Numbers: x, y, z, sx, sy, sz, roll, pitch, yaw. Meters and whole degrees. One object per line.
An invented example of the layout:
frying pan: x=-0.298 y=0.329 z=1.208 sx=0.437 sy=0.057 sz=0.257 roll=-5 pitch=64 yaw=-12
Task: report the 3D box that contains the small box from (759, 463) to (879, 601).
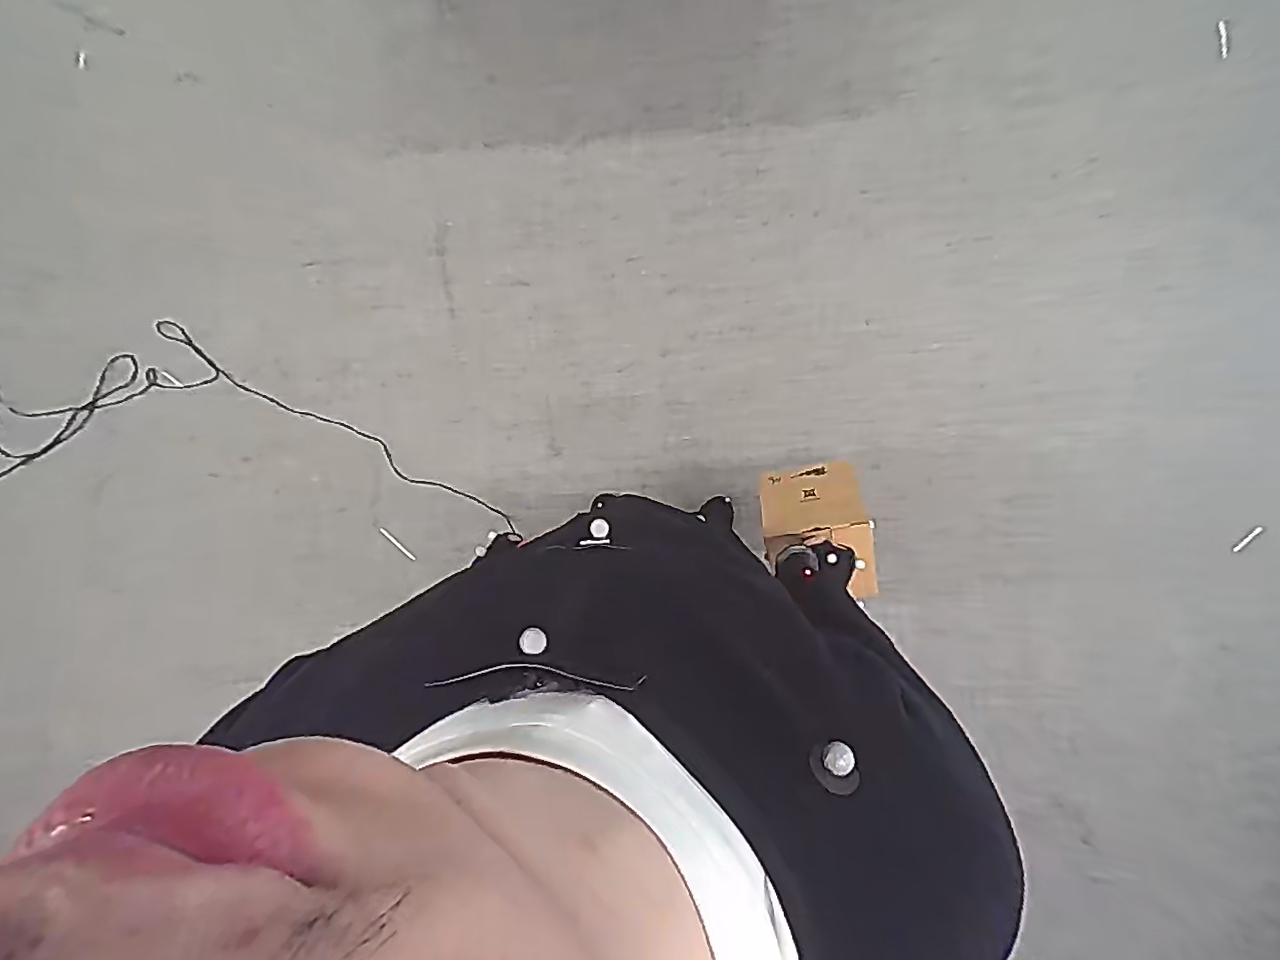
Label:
small box: x=0.316 y=0.099 z=0.964 sx=0.168 sy=0.179 sz=0.176 roll=-12 pitch=123 yaw=14
